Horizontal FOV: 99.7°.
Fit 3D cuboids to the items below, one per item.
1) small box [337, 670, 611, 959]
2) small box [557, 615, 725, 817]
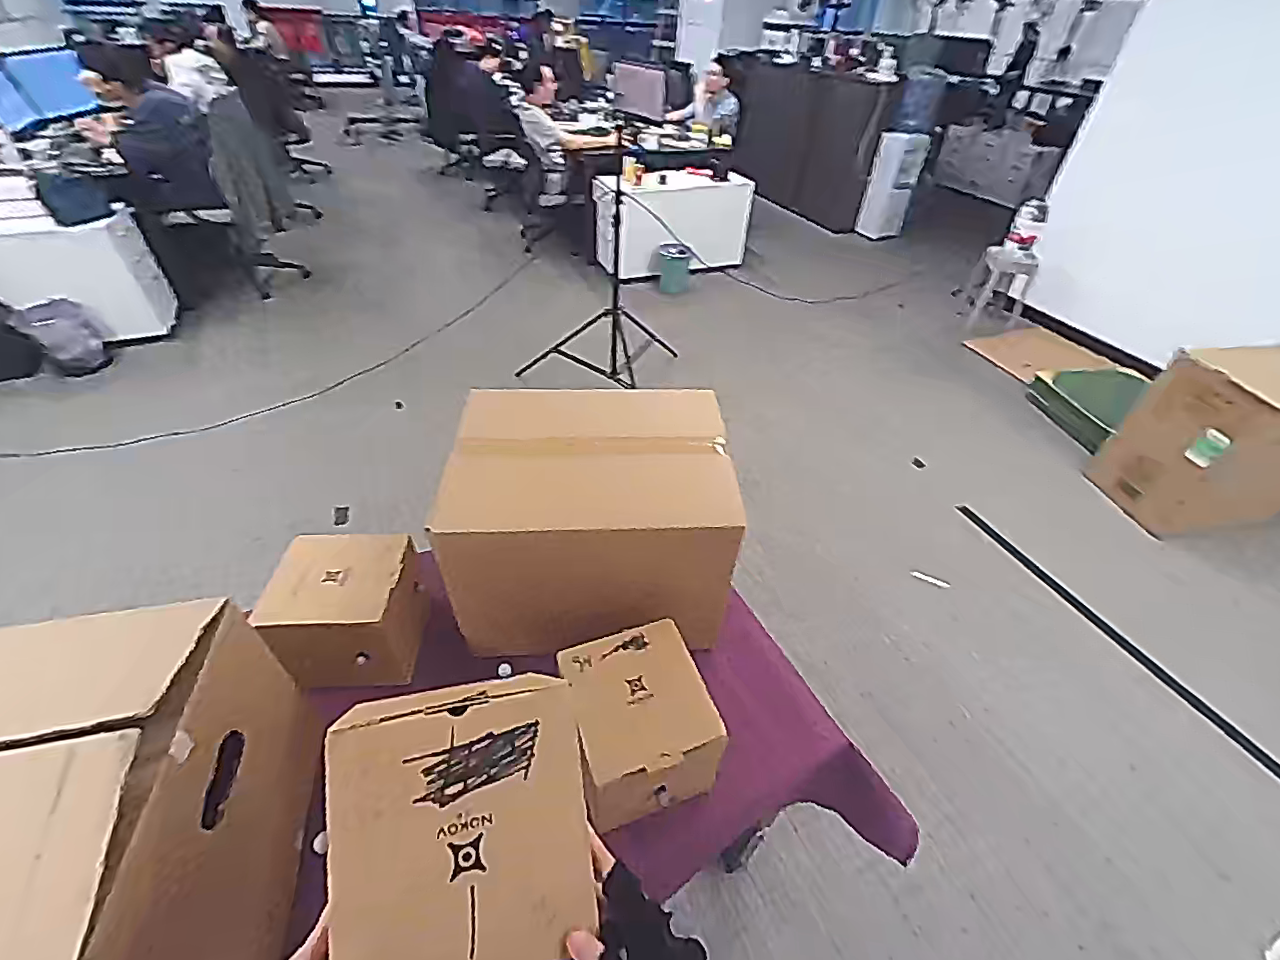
[{"bbox_3d":[-0.133,0.250,0.422,0.168,0.176,0.179,-2,76,-22],"label":"small box"},{"bbox_3d":[-0.006,0.316,0.716,0.168,0.176,0.179,-12,44,-17],"label":"small box"}]
